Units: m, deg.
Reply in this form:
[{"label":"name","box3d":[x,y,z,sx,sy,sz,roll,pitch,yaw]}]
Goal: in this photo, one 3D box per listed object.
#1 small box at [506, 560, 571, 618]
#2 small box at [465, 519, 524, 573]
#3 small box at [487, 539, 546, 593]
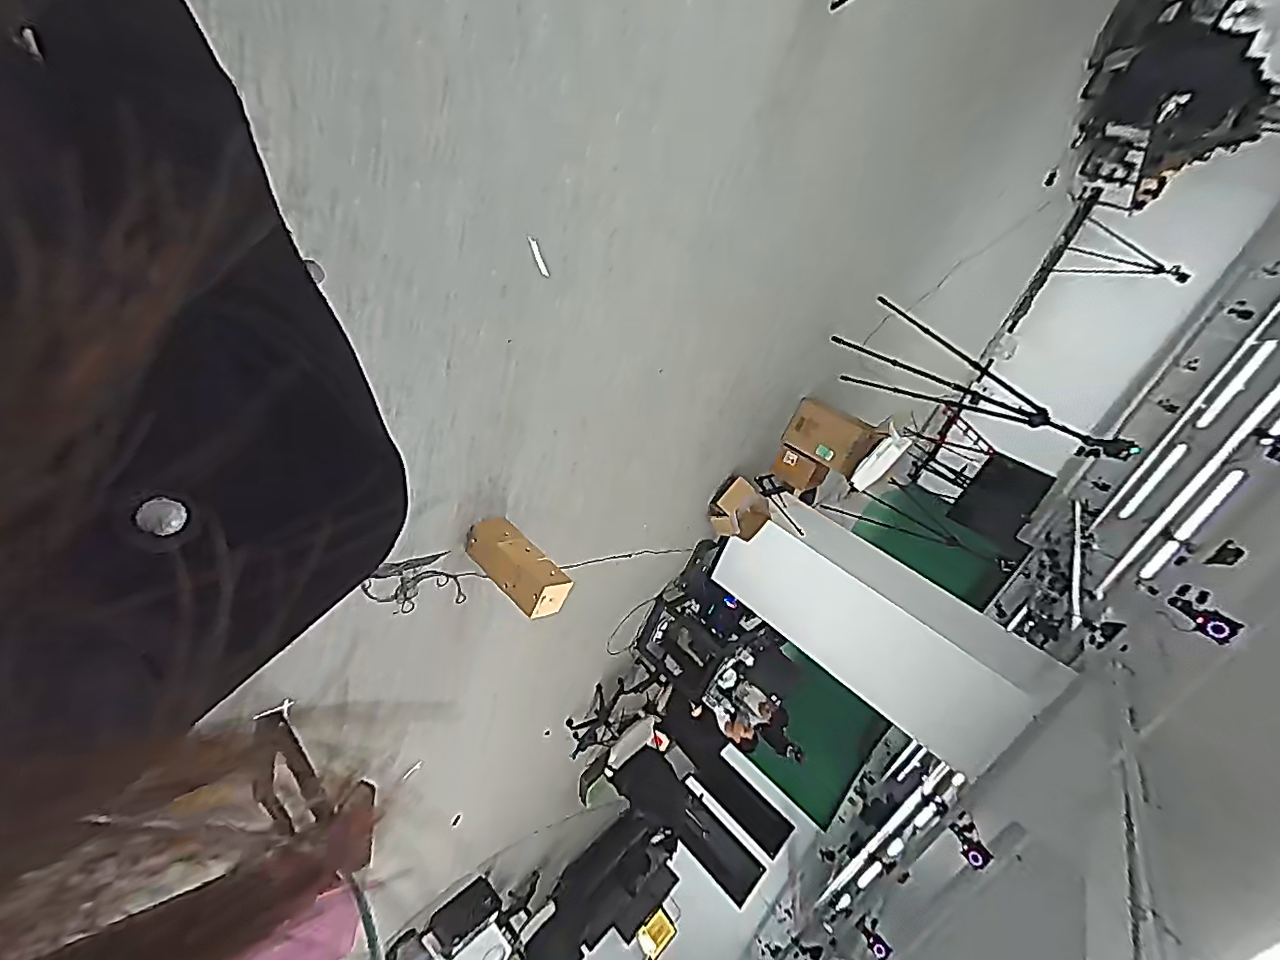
[{"label":"small box","box3d":[-0.430,0.455,2.287,0.179,0.176,0.168,2,119,-57]},{"label":"small box","box3d":[-0.661,0.291,2.450,0.179,0.176,0.168,-9,128,-51]},{"label":"small box","box3d":[-0.546,0.374,2.370,0.168,0.176,0.179,-8,127,-52]}]
